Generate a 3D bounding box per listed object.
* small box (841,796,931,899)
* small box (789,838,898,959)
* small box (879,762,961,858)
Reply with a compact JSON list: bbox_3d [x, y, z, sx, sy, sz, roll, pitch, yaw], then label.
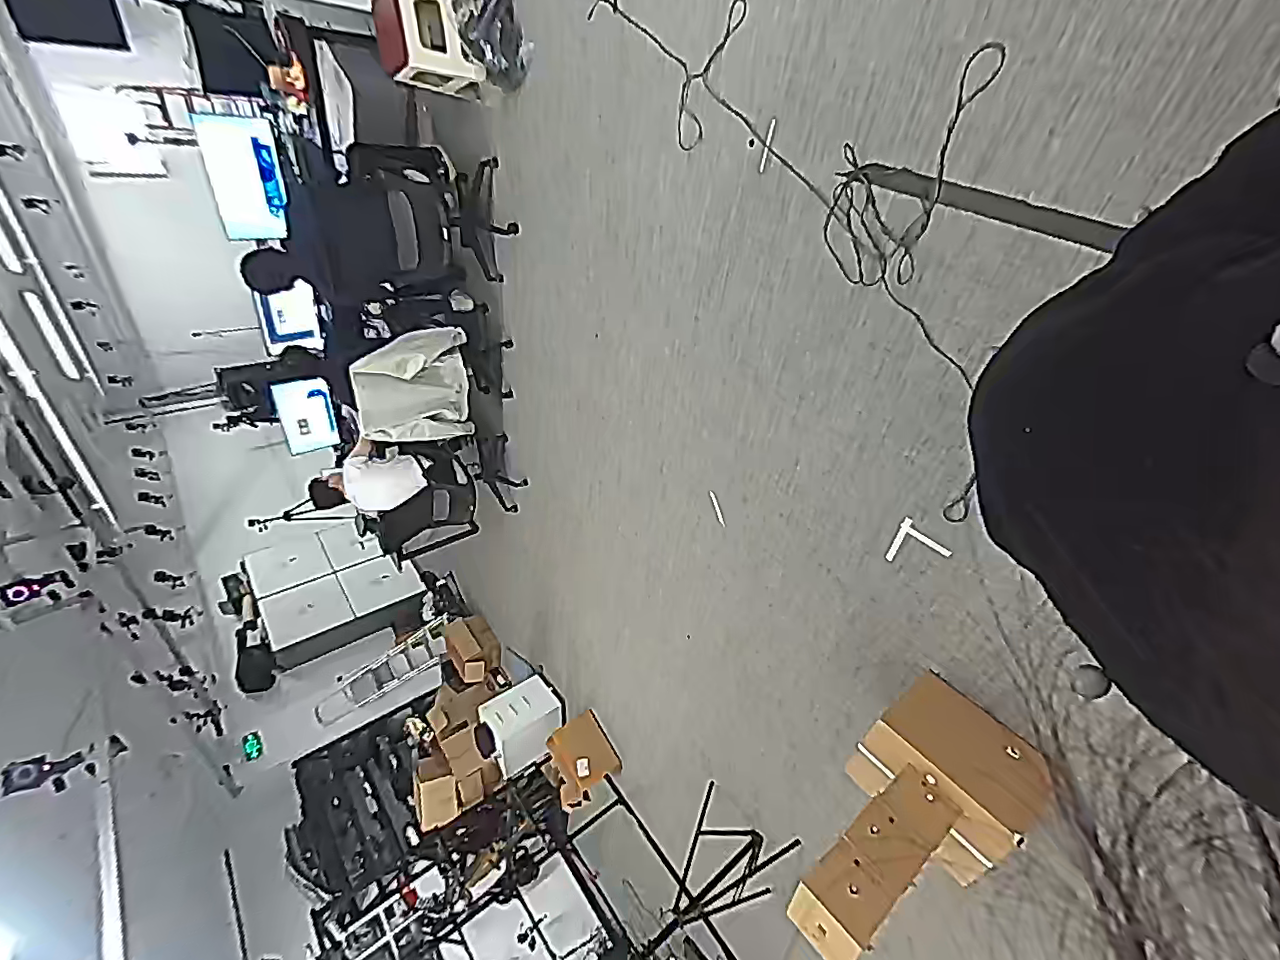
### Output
[{"bbox_3d":[0.620,0.970,1.403,0.168,0.176,0.179,39,136,38],"label":"small box"},{"bbox_3d":[0.495,1.023,1.310,0.168,0.176,0.179,35,133,41],"label":"small box"},{"bbox_3d":[0.748,0.929,1.495,0.168,0.176,0.179,39,135,36],"label":"small box"}]
